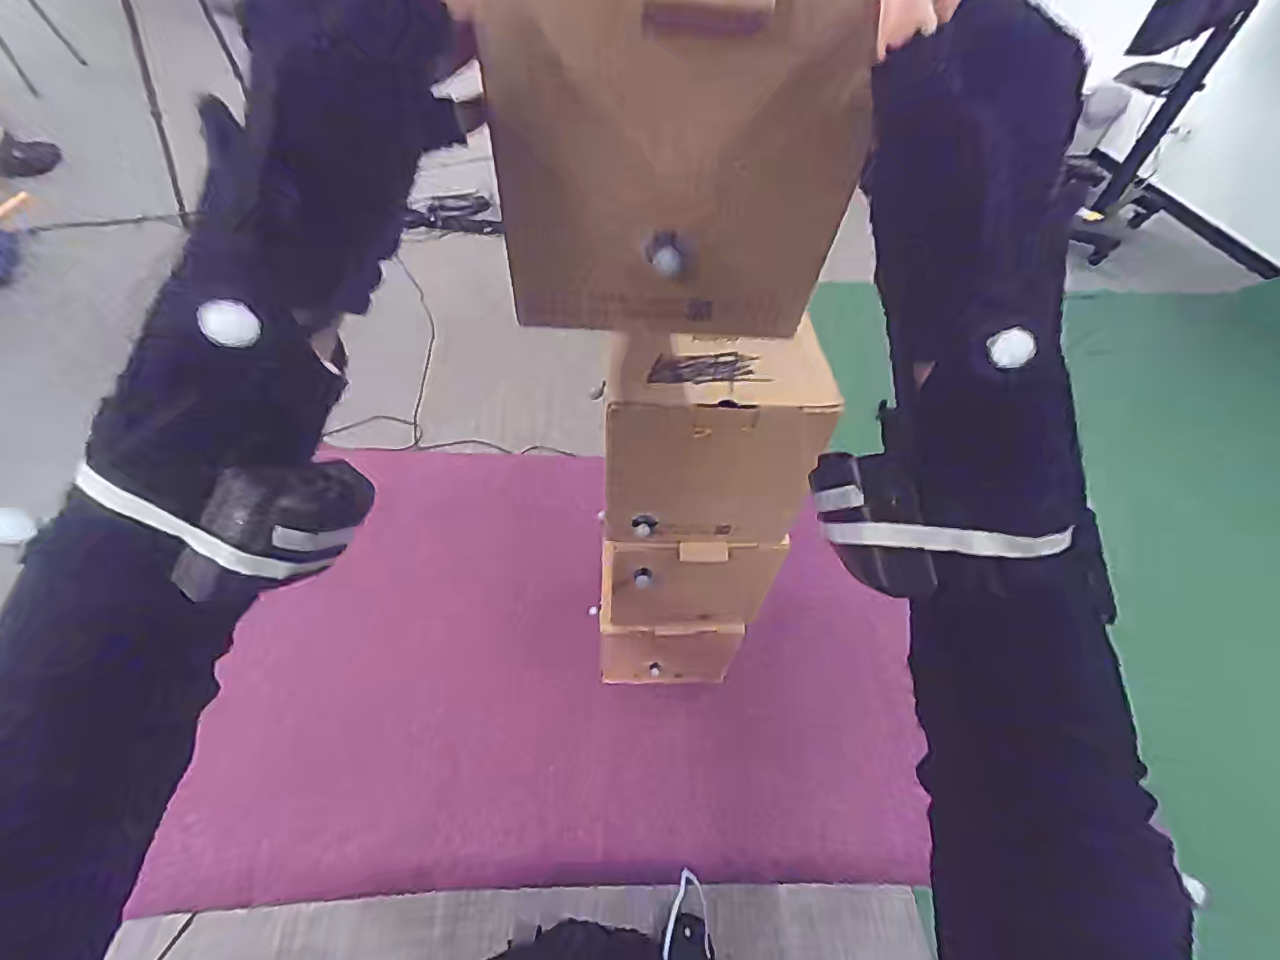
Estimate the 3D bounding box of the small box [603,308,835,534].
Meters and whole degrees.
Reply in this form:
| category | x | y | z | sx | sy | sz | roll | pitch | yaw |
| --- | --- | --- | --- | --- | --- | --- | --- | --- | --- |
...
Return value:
| category | x | y | z | sx | sy | sz | roll | pitch | yaw |
| --- | --- | --- | --- | --- | --- | --- | --- | --- | --- |
| small box | 0.051 | -0.065 | 0.486 | 0.168 | 0.176 | 0.179 | 0 | 50 | -4 |

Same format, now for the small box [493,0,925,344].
| category | x | y | z | sx | sy | sz | roll | pitch | yaw |
| --- | --- | --- | --- | --- | --- | --- | --- | --- | --- |
| small box | 0.020 | -0.203 | 0.308 | 0.168 | 0.176 | 0.179 | 2 | 57 | -3 |

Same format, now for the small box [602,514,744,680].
| category | x | y | z | sx | sy | sz | roll | pitch | yaw |
| --- | --- | --- | --- | --- | --- | --- | --- | --- | --- |
| small box | 0.034 | 0.155 | 0.733 | 0.168 | 0.176 | 0.179 | 1 | 52 | -3 |
